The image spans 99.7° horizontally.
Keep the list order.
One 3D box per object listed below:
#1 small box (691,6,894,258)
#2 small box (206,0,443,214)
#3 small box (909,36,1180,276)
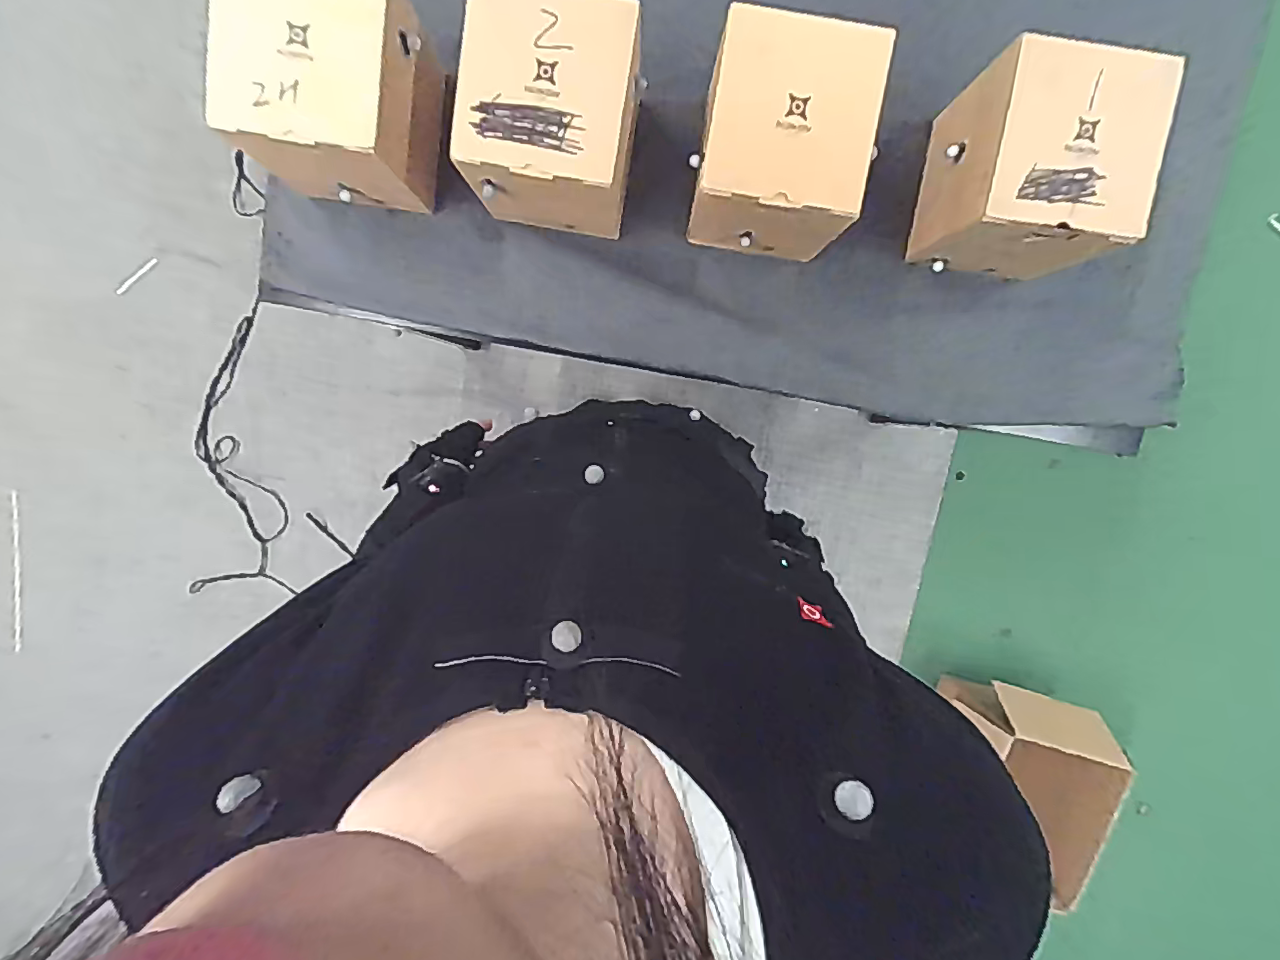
[{"bbox_3d":[0.156,-0.374,0.616,0.168,0.176,0.179,8,98,-2],"label":"small box"},{"bbox_3d":[-0.329,-0.425,0.598,0.168,0.176,0.179,7,97,-3],"label":"small box"},{"bbox_3d":[0.437,-0.348,0.619,0.168,0.176,0.179,8,97,-2],"label":"small box"}]
